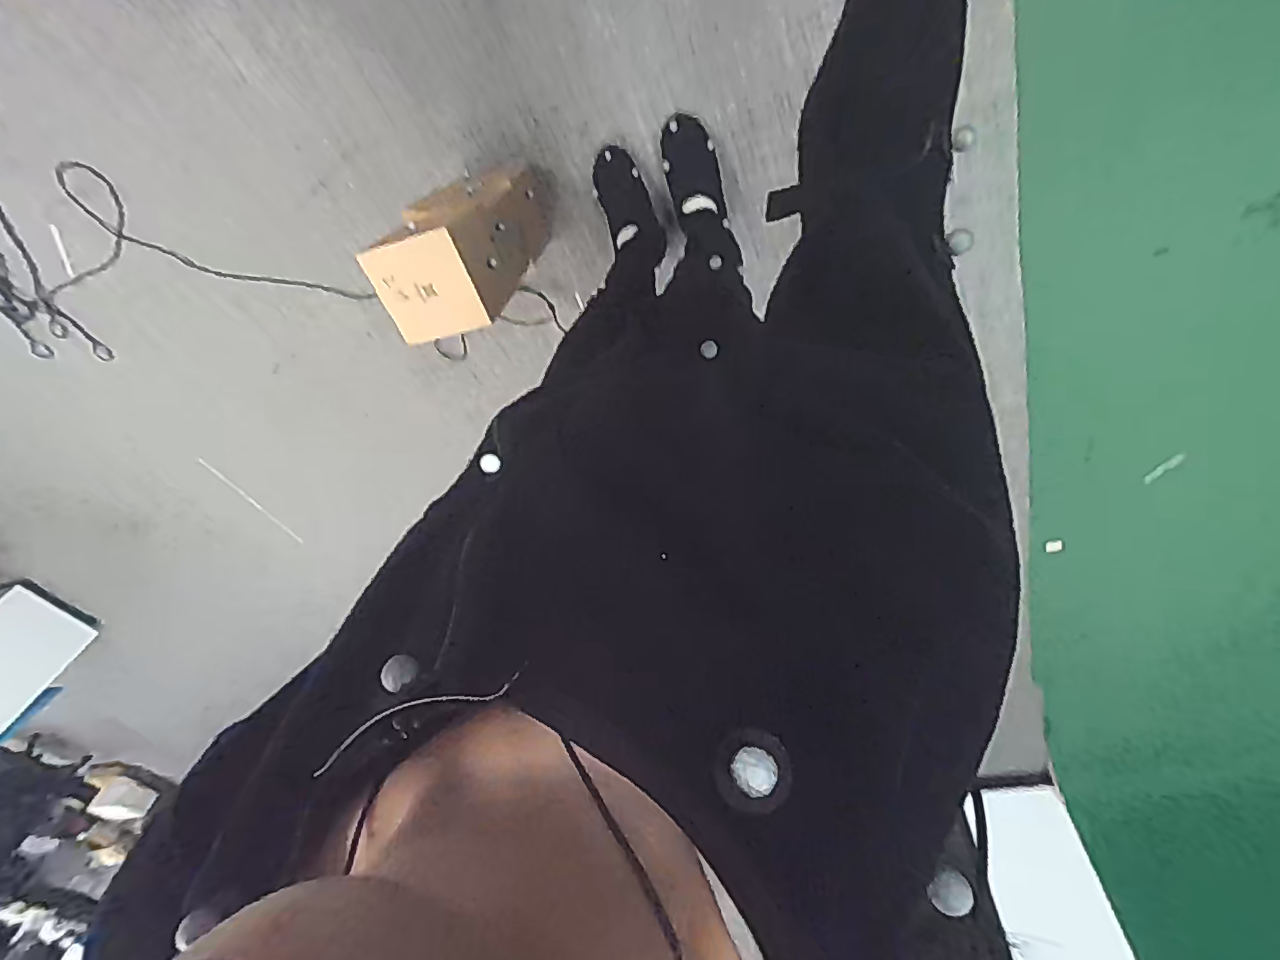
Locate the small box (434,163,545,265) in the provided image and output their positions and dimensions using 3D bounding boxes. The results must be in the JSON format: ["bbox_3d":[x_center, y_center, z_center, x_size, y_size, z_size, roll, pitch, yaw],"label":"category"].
[{"bbox_3d":[-0.323,-0.586,1.198,0.168,0.176,0.179,-3,131,10],"label":"small box"}]

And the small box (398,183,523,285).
[{"bbox_3d":[-0.344,-0.477,1.081,0.168,0.176,0.179,2,131,6],"label":"small box"}]

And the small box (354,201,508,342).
[{"bbox_3d":[-0.350,-0.370,0.954,0.179,0.176,0.168,-8,128,15],"label":"small box"}]
